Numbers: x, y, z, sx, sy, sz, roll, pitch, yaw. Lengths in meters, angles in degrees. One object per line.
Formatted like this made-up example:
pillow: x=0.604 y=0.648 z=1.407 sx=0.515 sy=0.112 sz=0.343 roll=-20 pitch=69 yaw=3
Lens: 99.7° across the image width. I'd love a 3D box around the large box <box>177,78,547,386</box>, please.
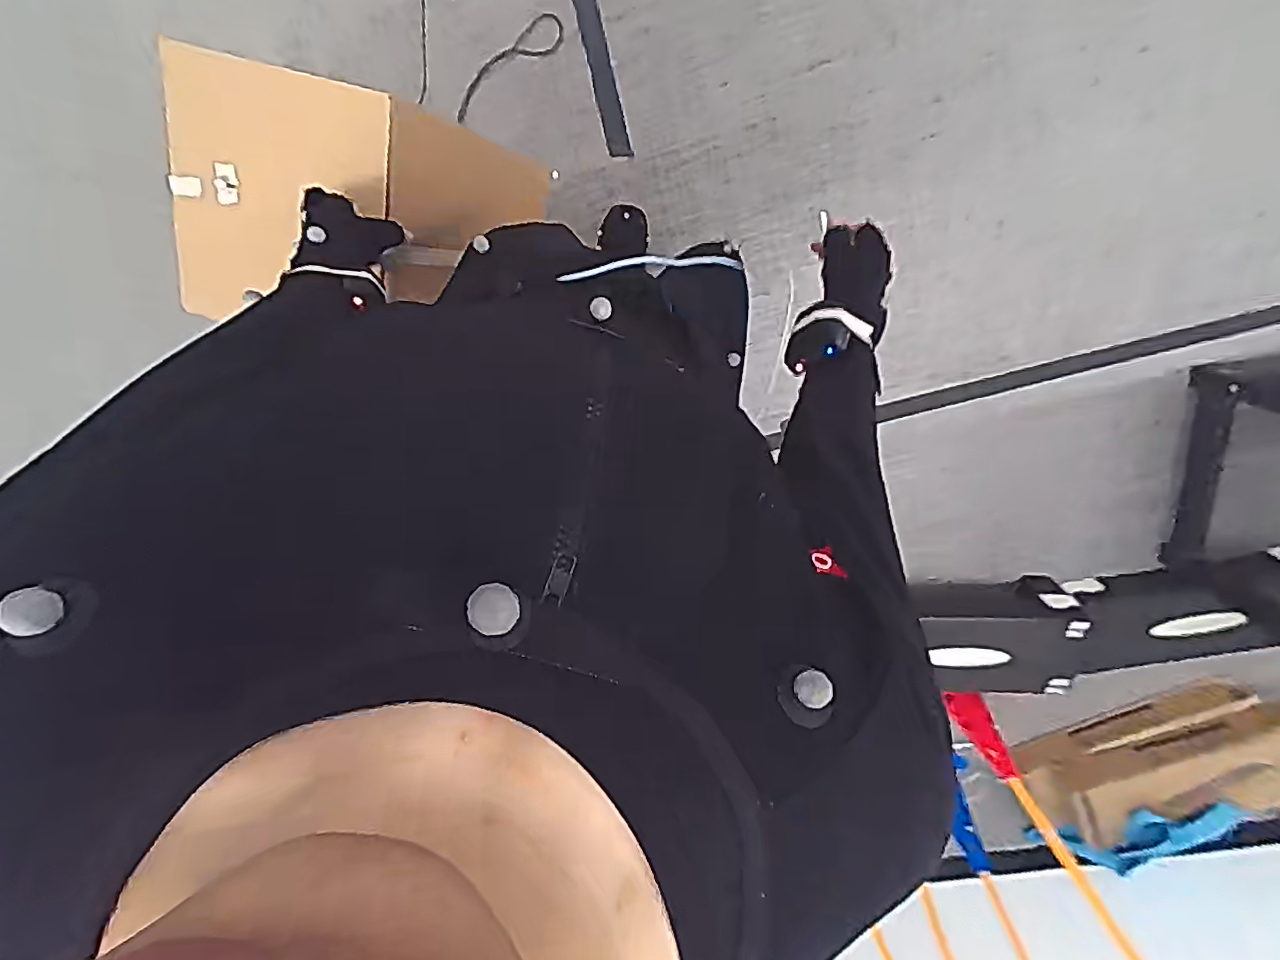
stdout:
large box: x=-0.385 y=-0.370 z=0.845 sx=0.320 sy=0.408 sz=0.320 roll=18 pitch=114 yaw=9
